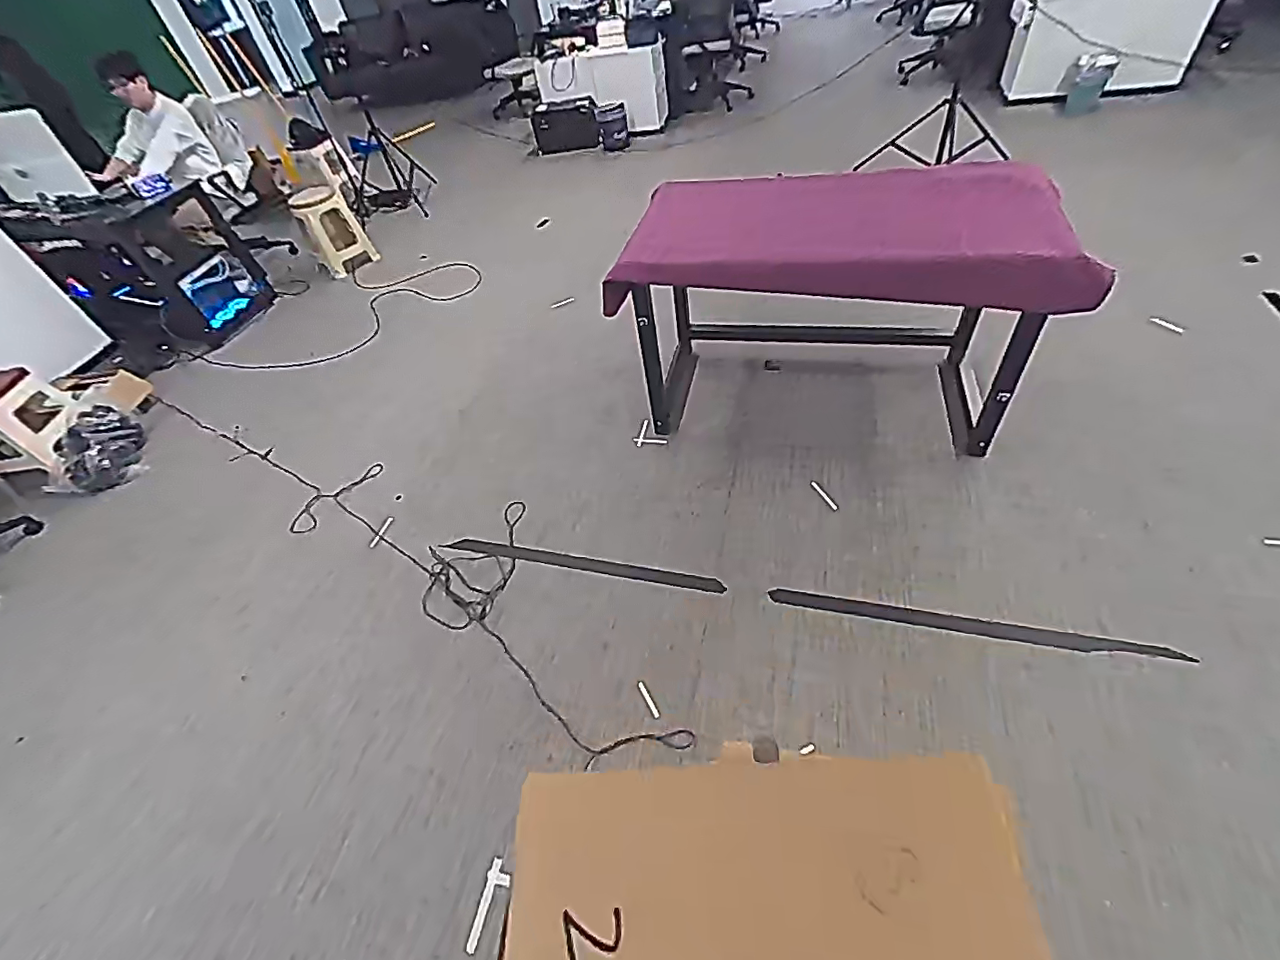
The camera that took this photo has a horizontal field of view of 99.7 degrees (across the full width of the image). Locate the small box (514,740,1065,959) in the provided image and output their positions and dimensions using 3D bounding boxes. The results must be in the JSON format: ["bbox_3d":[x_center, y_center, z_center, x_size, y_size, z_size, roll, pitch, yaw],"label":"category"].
[{"bbox_3d":[0.062,0.217,0.218,0.179,0.176,0.168,-12,48,14],"label":"small box"}]
